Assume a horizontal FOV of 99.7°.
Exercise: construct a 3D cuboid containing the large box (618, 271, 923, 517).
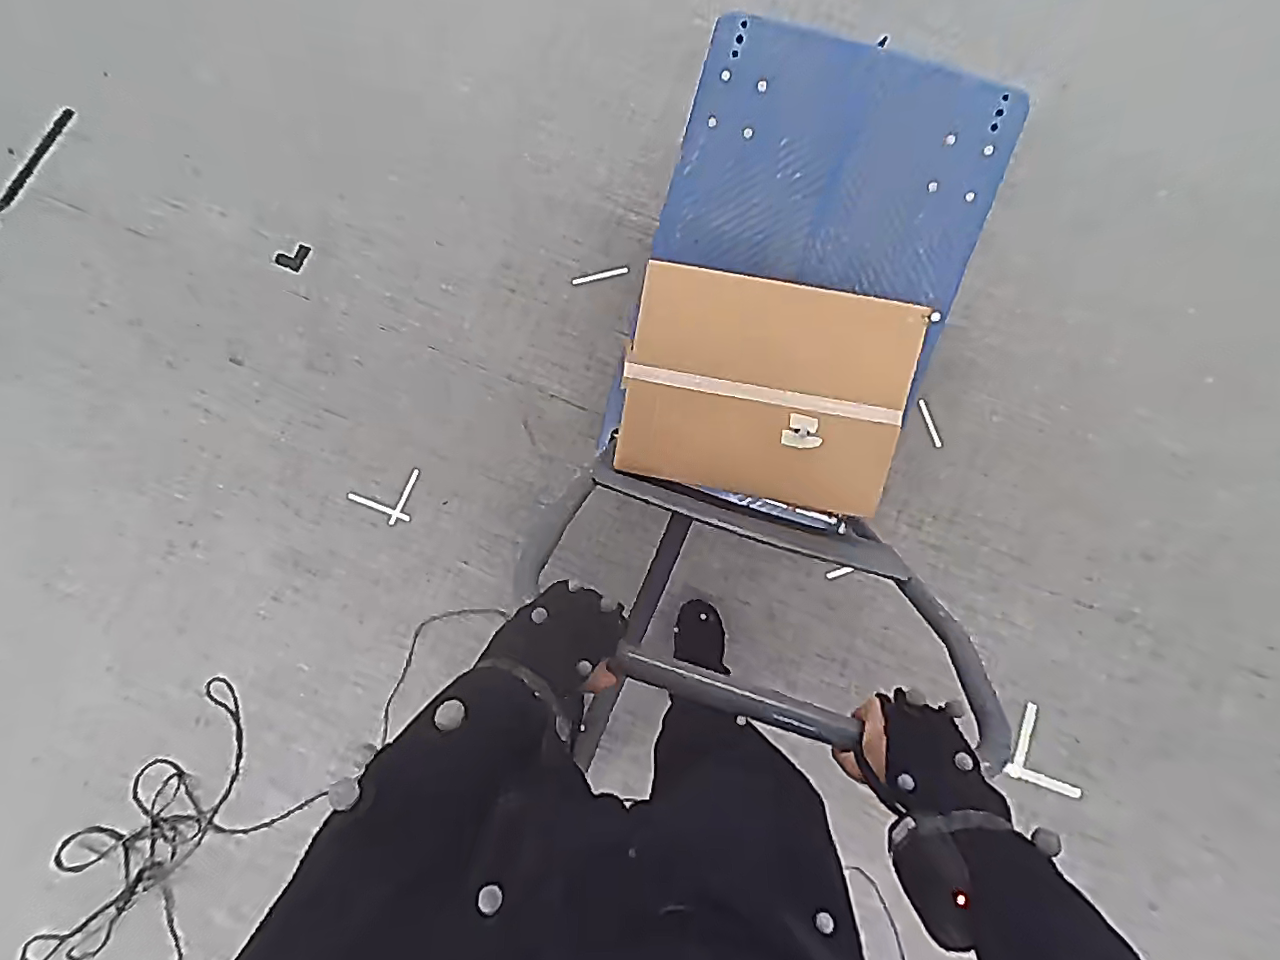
[{"bbox_3d":[0.193,-0.150,0.946,0.408,0.320,0.320,11,102,2],"label":"large box"}]
